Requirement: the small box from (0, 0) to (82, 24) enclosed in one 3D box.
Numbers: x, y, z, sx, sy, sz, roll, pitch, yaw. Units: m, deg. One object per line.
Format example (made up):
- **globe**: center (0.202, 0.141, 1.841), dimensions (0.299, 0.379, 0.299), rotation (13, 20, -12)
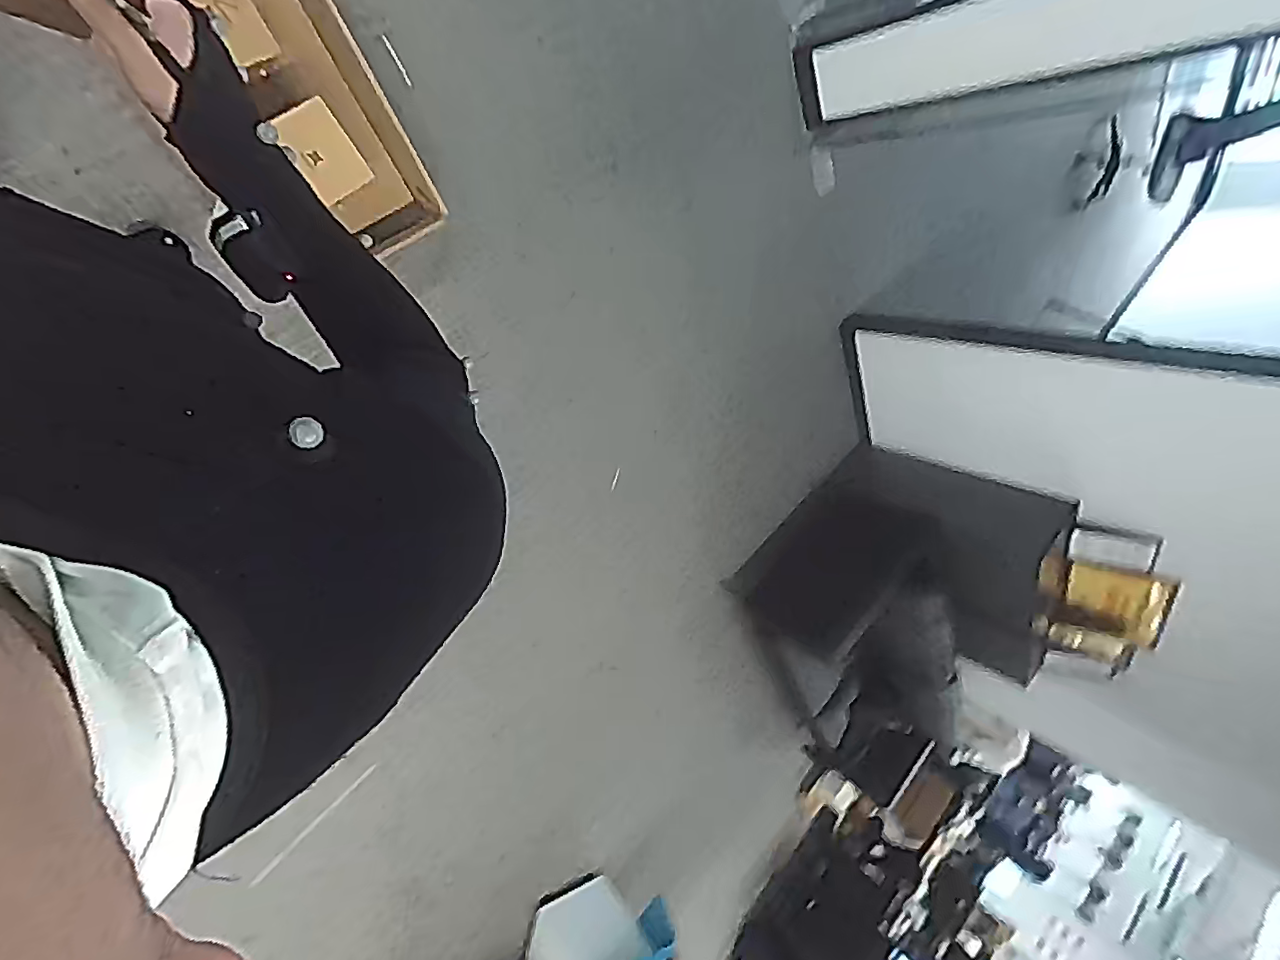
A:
- **small box**: center (-0.508, -0.458, 0.369), dimensions (0.168, 0.176, 0.179), rotation (-10, 118, -45)
